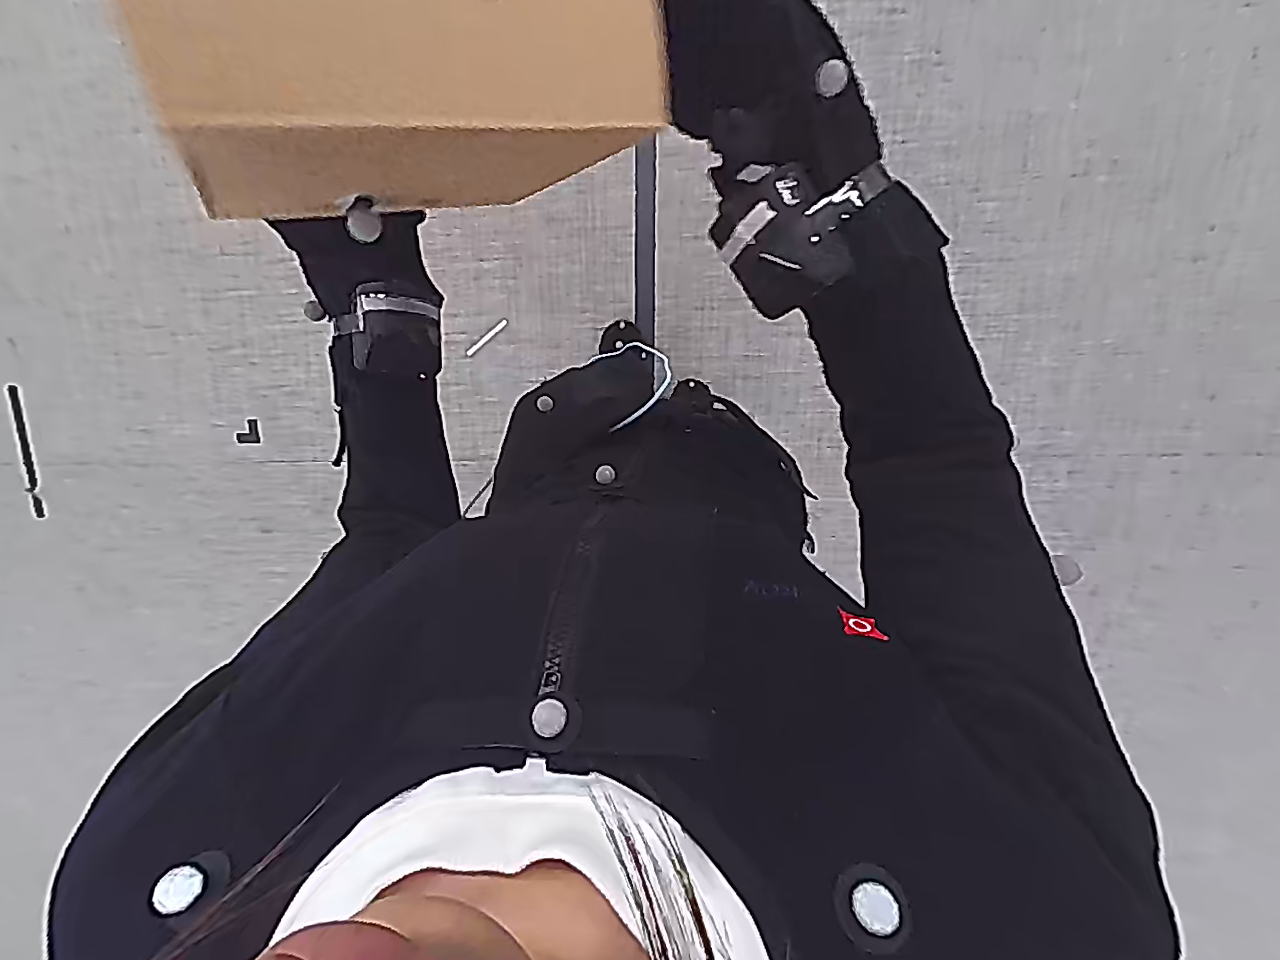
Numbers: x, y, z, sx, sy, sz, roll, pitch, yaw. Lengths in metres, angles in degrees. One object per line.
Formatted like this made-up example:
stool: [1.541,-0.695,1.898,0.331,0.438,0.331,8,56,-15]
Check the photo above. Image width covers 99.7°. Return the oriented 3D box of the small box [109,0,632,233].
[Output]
small box: [-0.126,-0.219,0.233,0.168,0.176,0.179,-19,113,-26]
